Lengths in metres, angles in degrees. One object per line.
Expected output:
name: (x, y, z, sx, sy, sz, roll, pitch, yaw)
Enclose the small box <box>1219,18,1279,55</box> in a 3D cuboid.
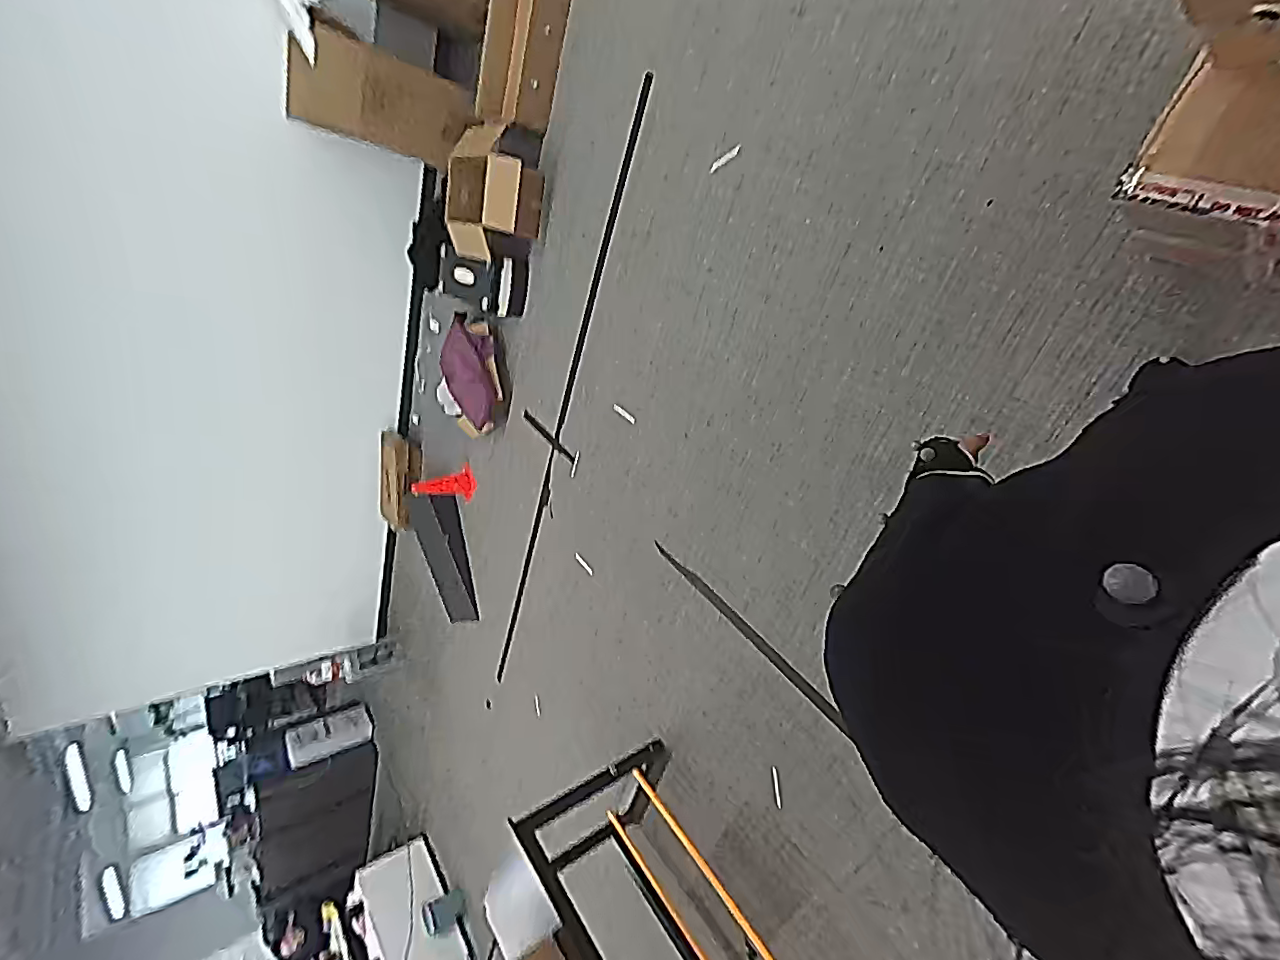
small box: (0.734, -0.561, 0.541, 0.168, 0.176, 0.179, 42, 127, 38)
